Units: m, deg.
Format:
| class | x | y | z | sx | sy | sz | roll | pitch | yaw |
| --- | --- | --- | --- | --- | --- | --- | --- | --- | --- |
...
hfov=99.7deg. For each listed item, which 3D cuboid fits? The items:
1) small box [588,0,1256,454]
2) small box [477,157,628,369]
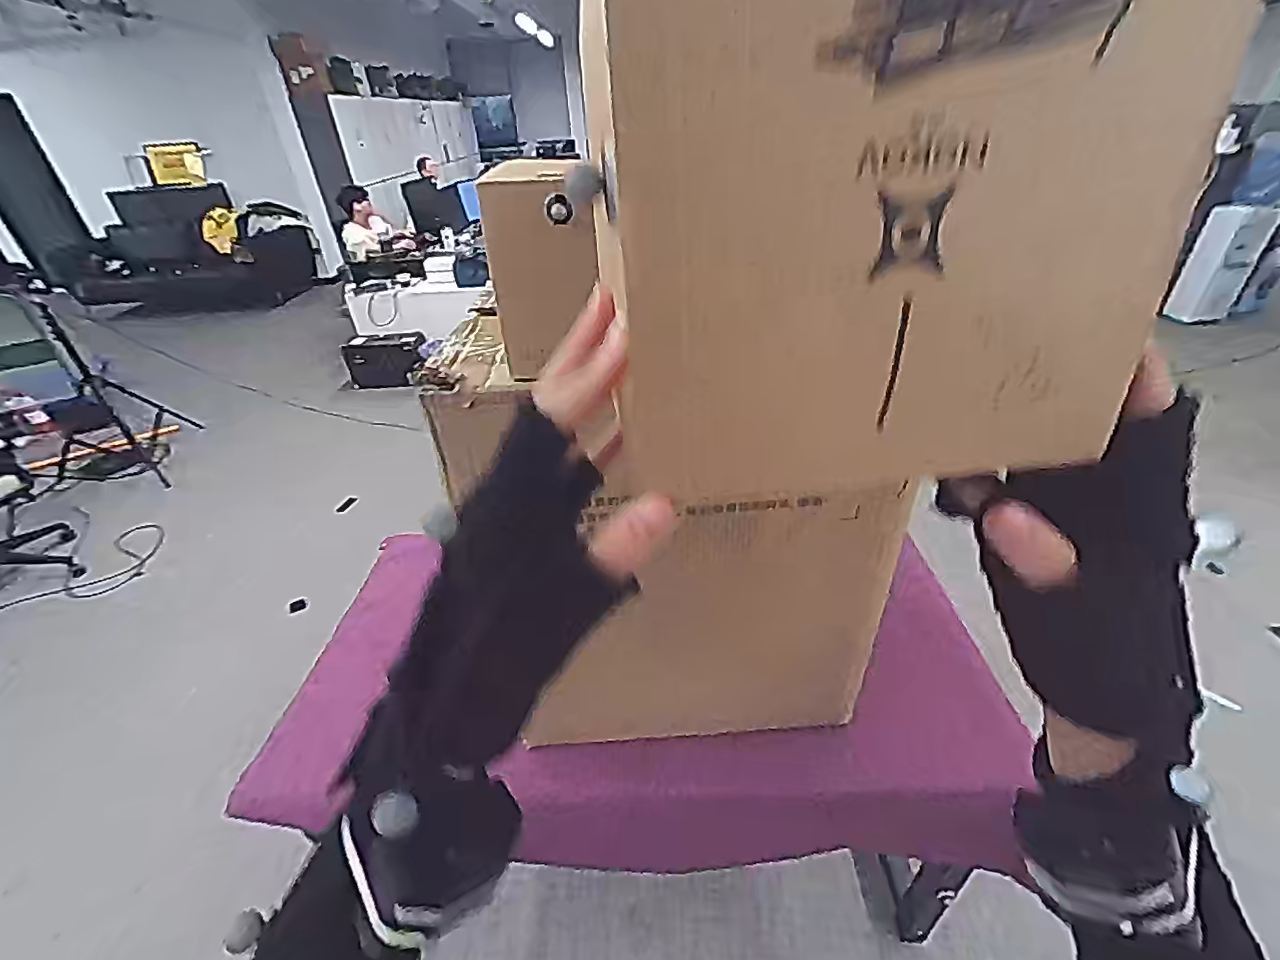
| class | x | y | z | sx | sy | sz | roll | pitch | yaw |
| --- | --- | --- | --- | --- | --- | --- | --- | --- | --- |
| small box | 0.069 | -0.125 | 0.216 | 0.168 | 0.179 | 0.176 | -5 | 24 | -3 |
| small box | -0.046 | -0.218 | 0.532 | 0.168 | 0.176 | 0.179 | -3 | 33 | 0 |
